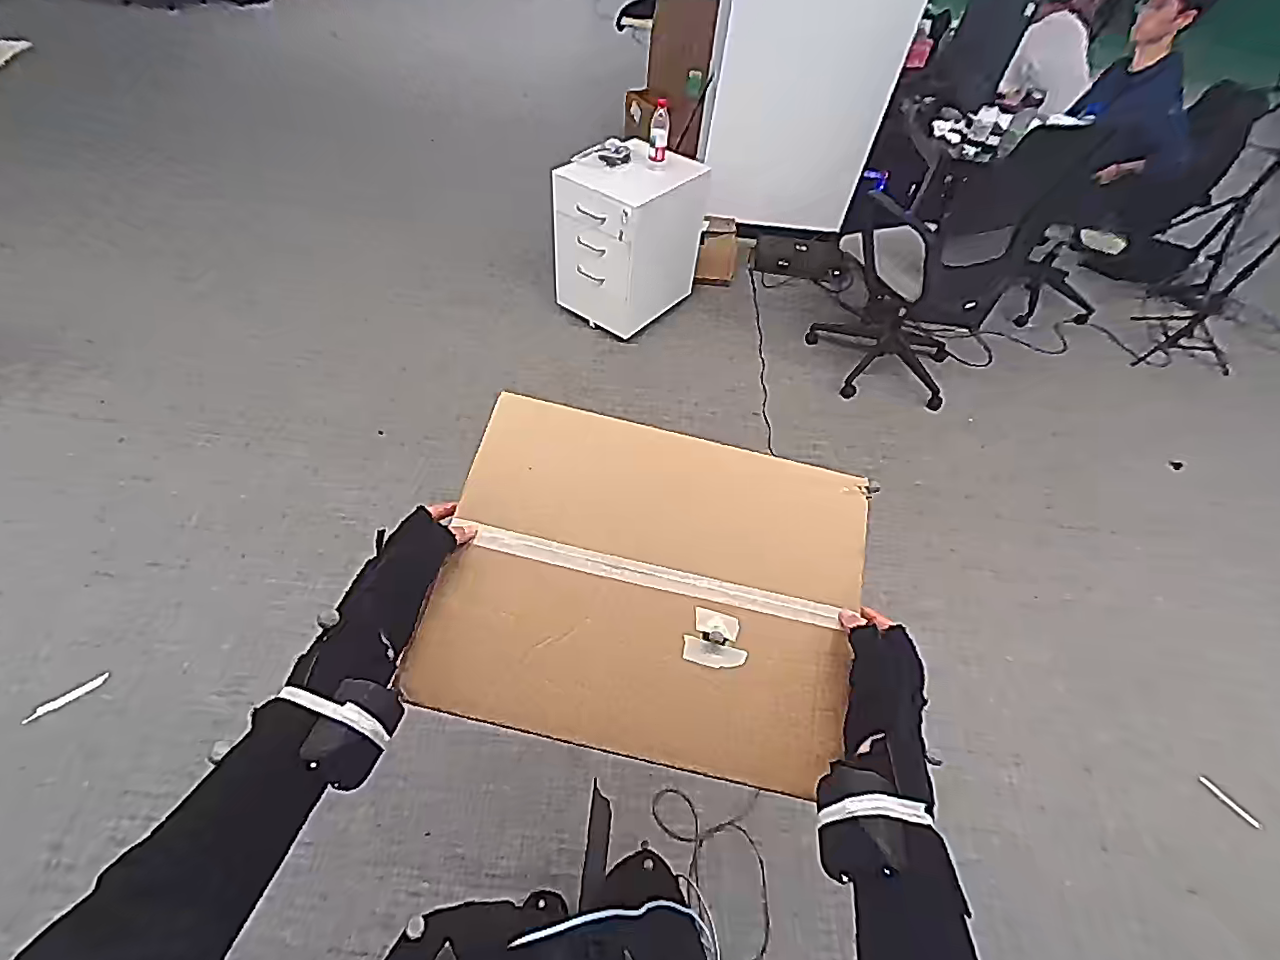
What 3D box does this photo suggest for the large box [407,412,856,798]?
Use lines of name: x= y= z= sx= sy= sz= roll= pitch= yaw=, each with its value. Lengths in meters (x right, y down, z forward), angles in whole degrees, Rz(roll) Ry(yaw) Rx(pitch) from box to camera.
large box: x=-0.001 y=0.158 z=0.674 sx=0.408 sy=0.320 sz=0.320 roll=14 pitch=69 yaw=0
